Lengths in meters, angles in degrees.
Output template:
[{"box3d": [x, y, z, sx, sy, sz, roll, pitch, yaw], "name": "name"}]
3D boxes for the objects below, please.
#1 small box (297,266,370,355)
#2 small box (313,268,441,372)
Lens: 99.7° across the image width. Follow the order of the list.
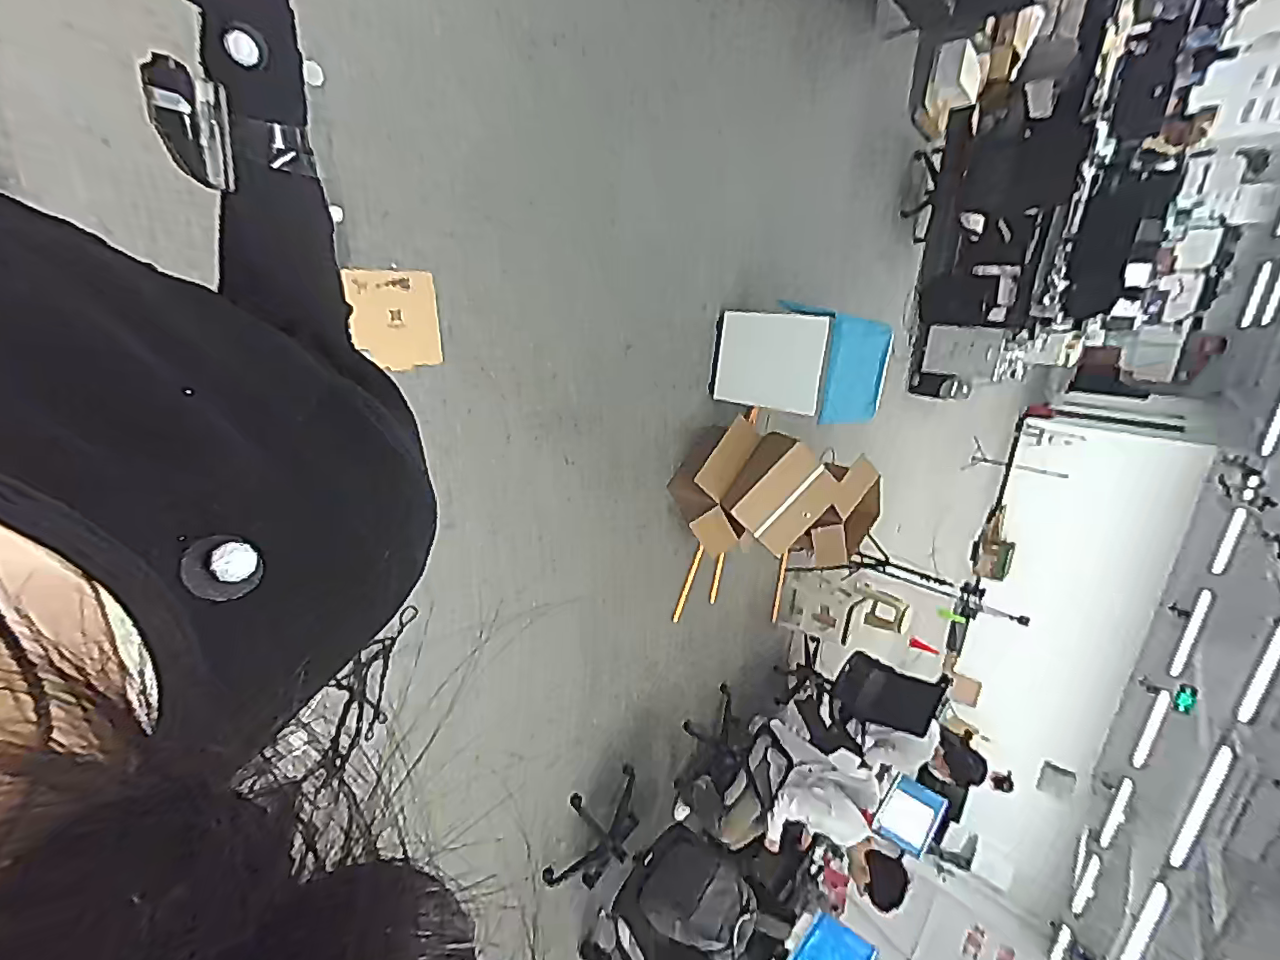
[{"box3d": [-0.615, -0.359, 1.162, 0.168, 0.176, 0.179, -15, 115, -43], "name": "small box"}, {"box3d": [-0.508, -0.313, 1.047, 0.168, 0.176, 0.179, -18, 117, -43], "name": "small box"}]
